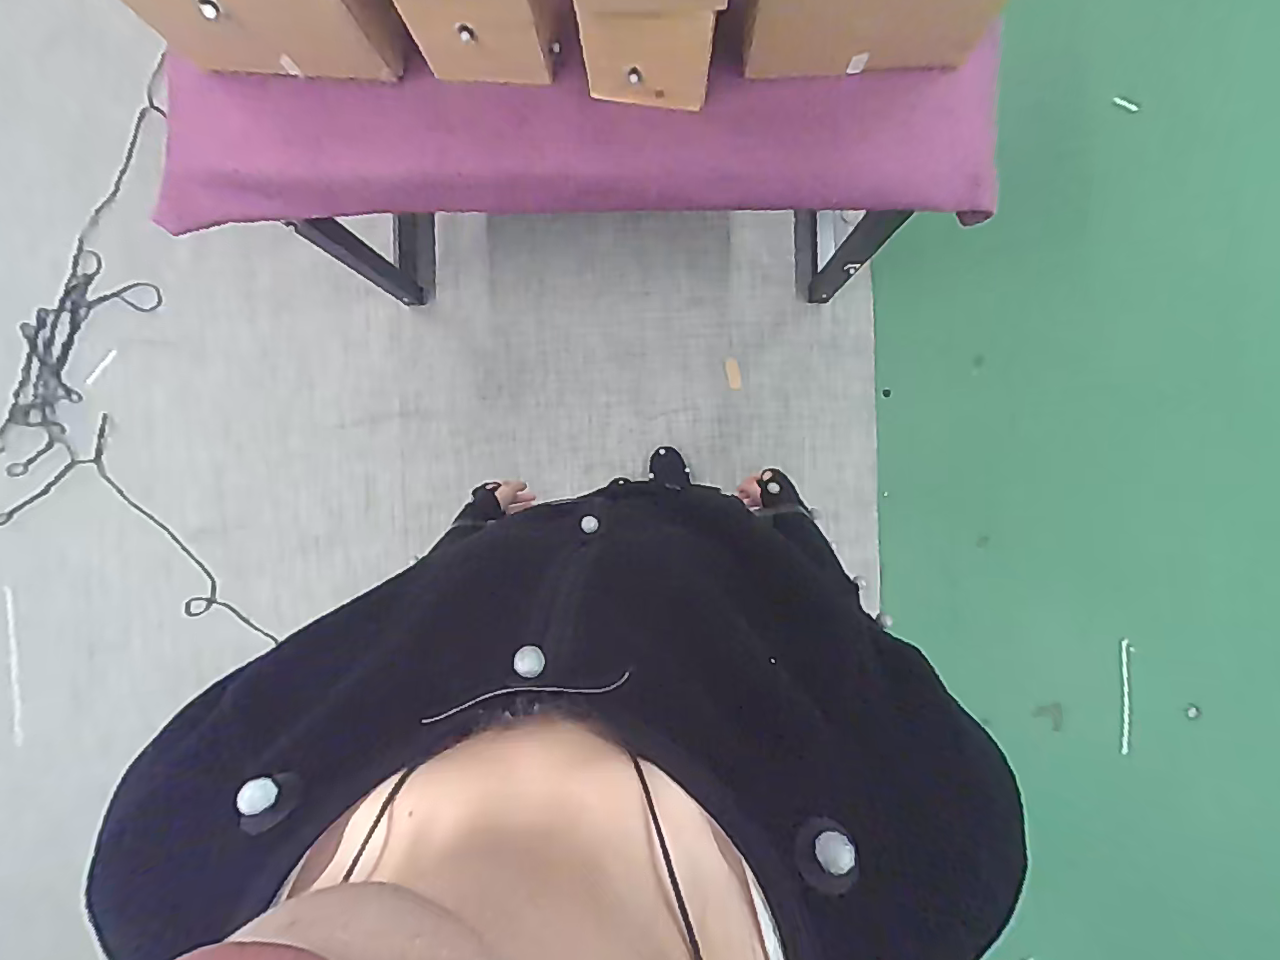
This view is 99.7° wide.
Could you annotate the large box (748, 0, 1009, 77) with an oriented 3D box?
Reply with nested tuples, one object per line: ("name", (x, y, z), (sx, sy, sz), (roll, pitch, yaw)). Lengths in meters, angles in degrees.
("large box", (0.295, -0.778, 0.620), (0.320, 0.320, 0.408), (-1, 91, 4))
